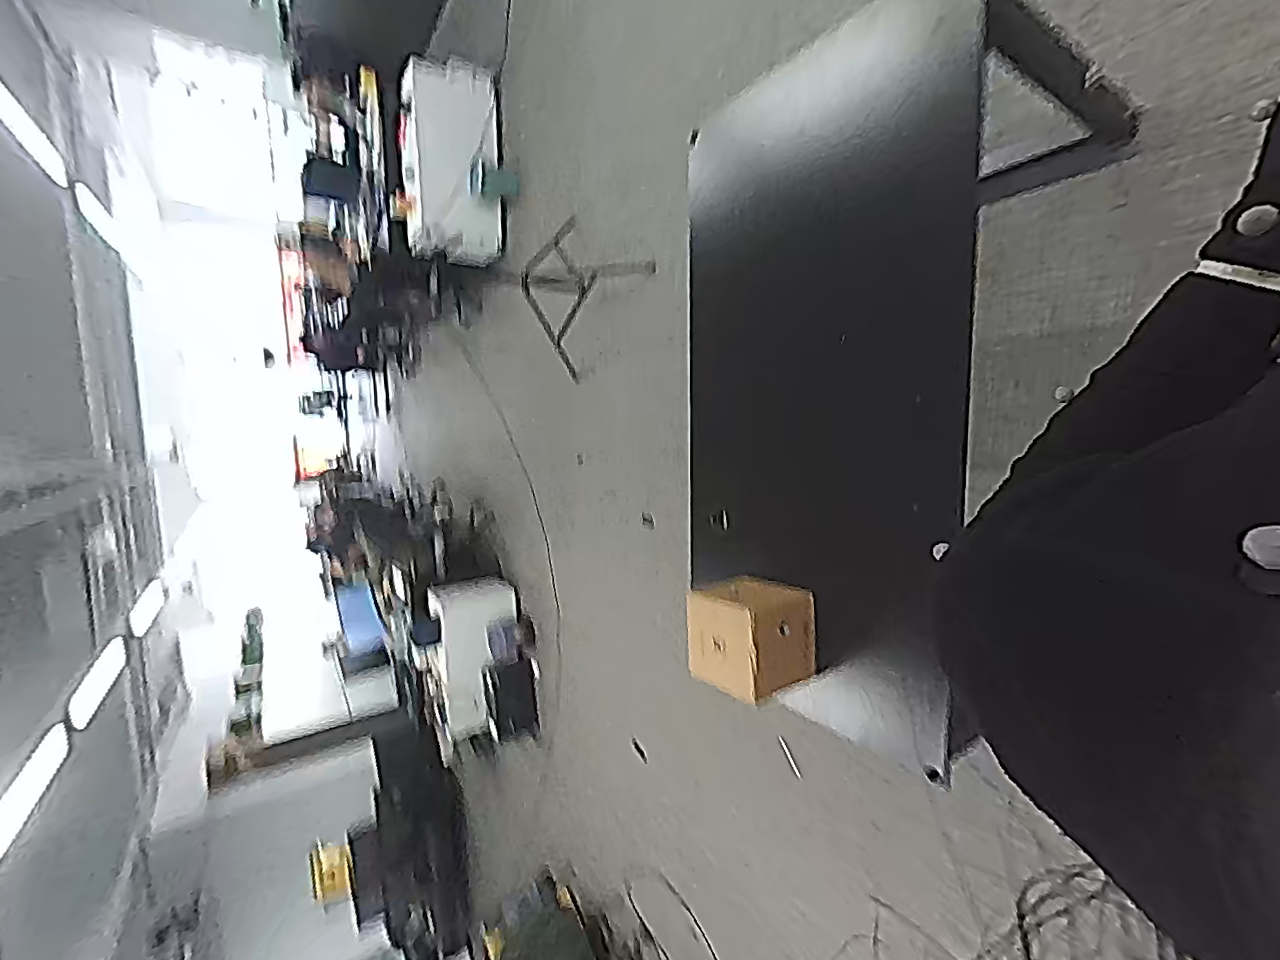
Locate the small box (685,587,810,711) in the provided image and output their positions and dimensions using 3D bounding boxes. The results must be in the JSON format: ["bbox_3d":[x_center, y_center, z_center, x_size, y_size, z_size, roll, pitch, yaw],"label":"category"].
[{"bbox_3d":[0.207,0.306,1.026,0.179,0.176,0.168,0,93,56],"label":"small box"}]
